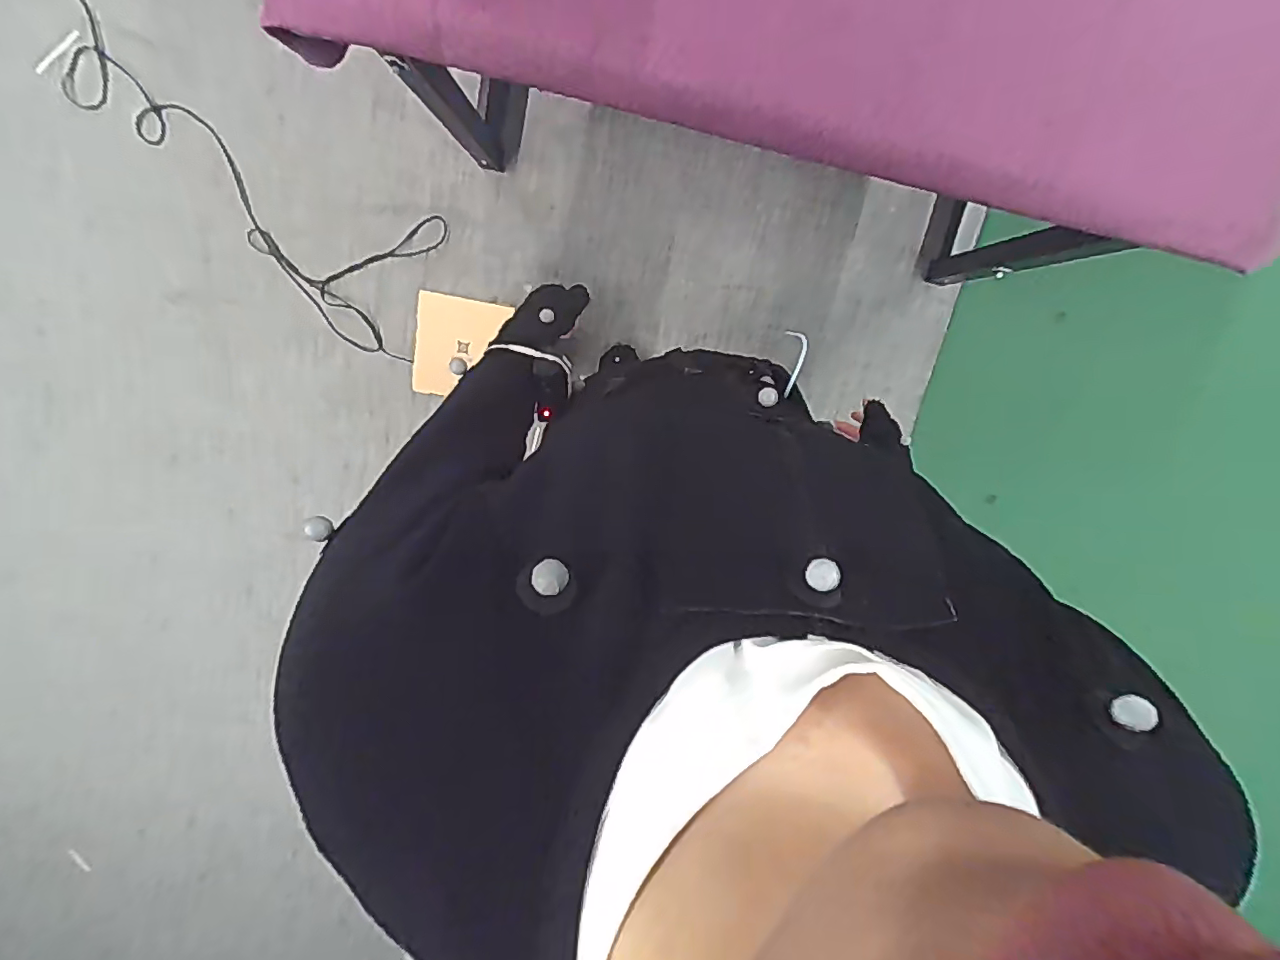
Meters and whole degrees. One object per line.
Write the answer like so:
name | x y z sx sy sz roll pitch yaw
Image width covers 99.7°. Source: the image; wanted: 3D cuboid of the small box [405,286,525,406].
small box | -0.317 -0.250 1.006 0.168 0.176 0.179 11 106 -4

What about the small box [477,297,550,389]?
small box | -0.323 -0.335 1.323 0.168 0.176 0.179 14 105 -4
